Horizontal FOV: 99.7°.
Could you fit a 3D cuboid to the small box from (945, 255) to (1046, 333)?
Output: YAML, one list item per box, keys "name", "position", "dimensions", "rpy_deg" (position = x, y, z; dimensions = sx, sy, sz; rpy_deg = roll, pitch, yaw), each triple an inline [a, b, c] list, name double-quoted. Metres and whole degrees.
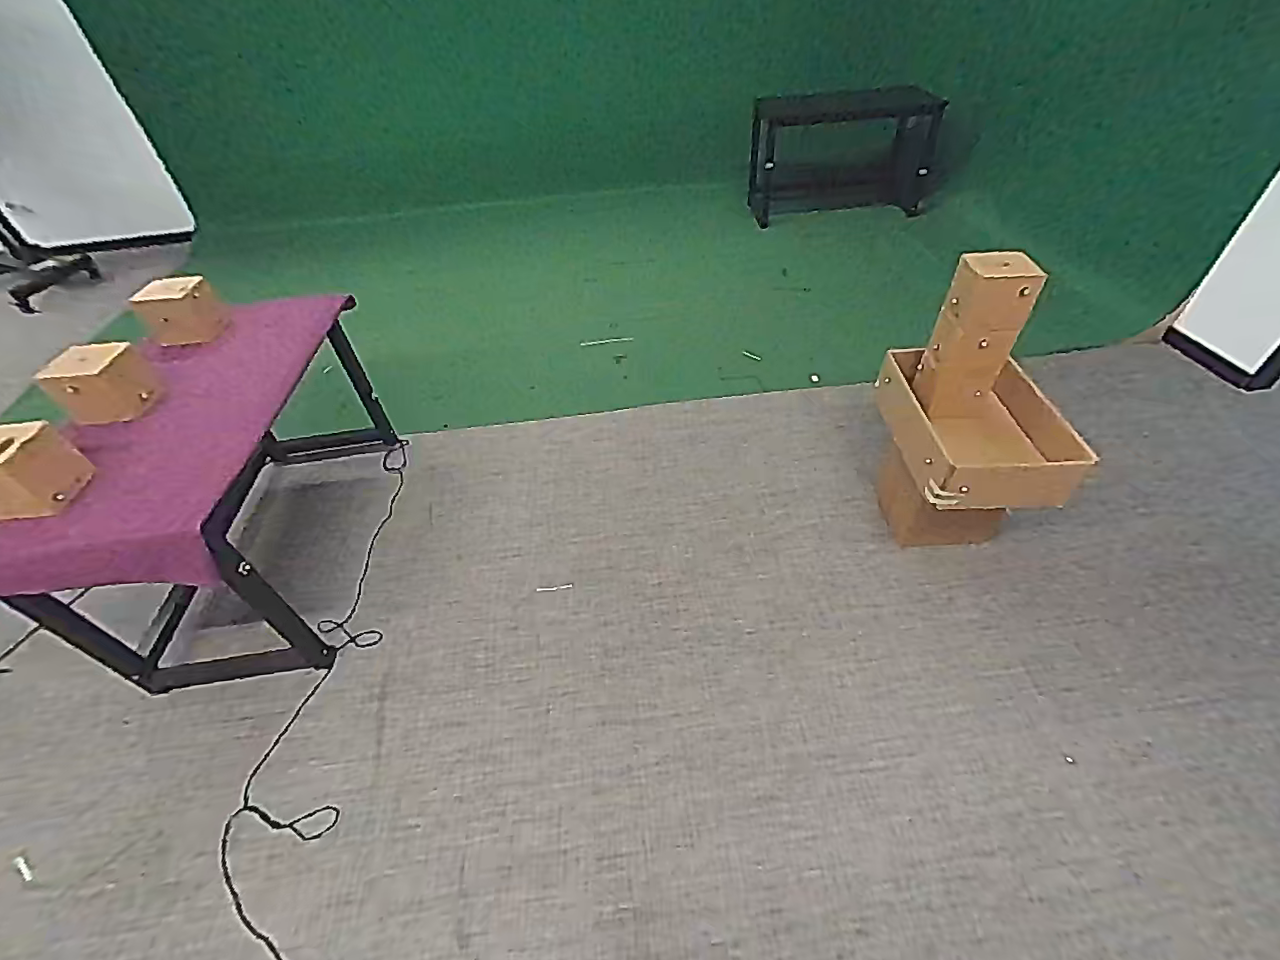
- name: "small box"
  position: [1.052, -0.554, 1.618]
  dimensions: [0.179, 0.176, 0.168]
  rpy_deg: [0, 44, 5]

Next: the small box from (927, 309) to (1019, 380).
- name: "small box"
  position: [1.058, -0.436, 1.734]
  dimensions: [0.179, 0.176, 0.168]
  rpy_deg: [-1, 45, 4]

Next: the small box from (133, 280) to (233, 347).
- name: "small box"
  position: [-1.594, -0.582, 1.900]
  dimensions: [0.179, 0.176, 0.168]
  rpy_deg: [-6, 46, -1]

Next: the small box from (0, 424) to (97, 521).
- name: "small box"
  position: [-1.512, -0.016, 1.320]
  dimensions: [0.179, 0.176, 0.168]
  rpy_deg: [-6, 44, -2]

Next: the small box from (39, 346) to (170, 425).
- name: "small box"
  position: [-1.562, -0.274, 1.591]
  dimensions: [0.179, 0.176, 0.168]
  rpy_deg: [-4, 45, -1]
